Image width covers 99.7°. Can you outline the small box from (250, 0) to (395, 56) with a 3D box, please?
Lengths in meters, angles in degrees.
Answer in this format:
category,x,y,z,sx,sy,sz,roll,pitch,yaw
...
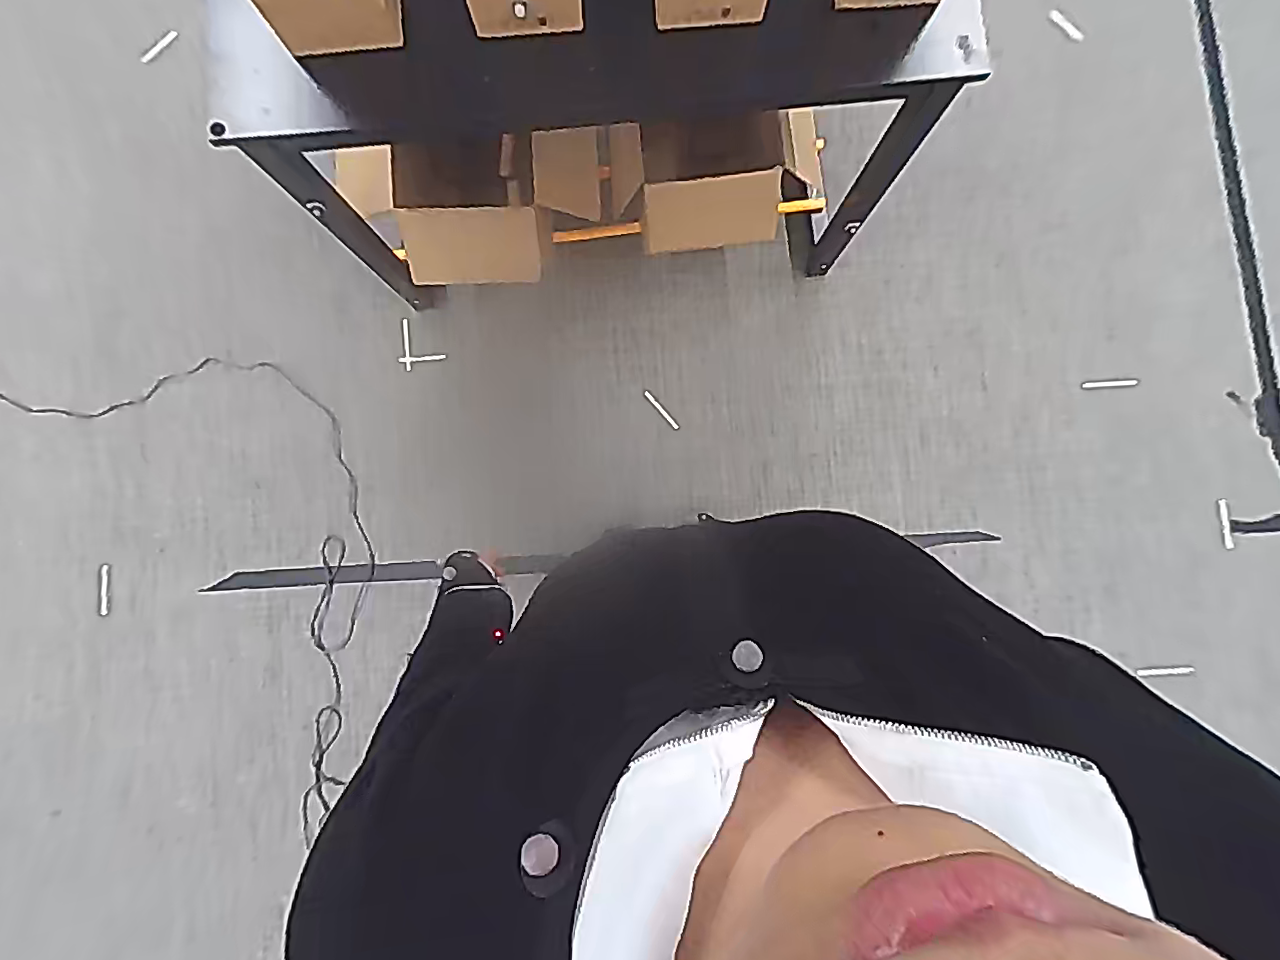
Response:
category,x,y,z,sx,sy,sz,roll,pitch,yaw
small box,-0.464,-0.749,0.766,0.179,0.176,0.168,-6,85,-1

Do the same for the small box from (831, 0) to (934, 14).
category,x,y,z,sx,sy,sz,roll,pitch,yaw
small box,0.371,-0.825,0.772,0.168,0.176,0.179,-4,86,2

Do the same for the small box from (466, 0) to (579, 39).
category,x,y,z,sx,sy,sz,roll,pitch,yaw
small box,-0.181,-0.783,0.770,0.168,0.176,0.179,-4,86,0

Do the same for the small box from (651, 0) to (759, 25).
category,x,y,z,sx,sy,sz,roll,pitch,yaw
small box,0.095,-0.796,0.771,0.168,0.176,0.179,-5,86,0
